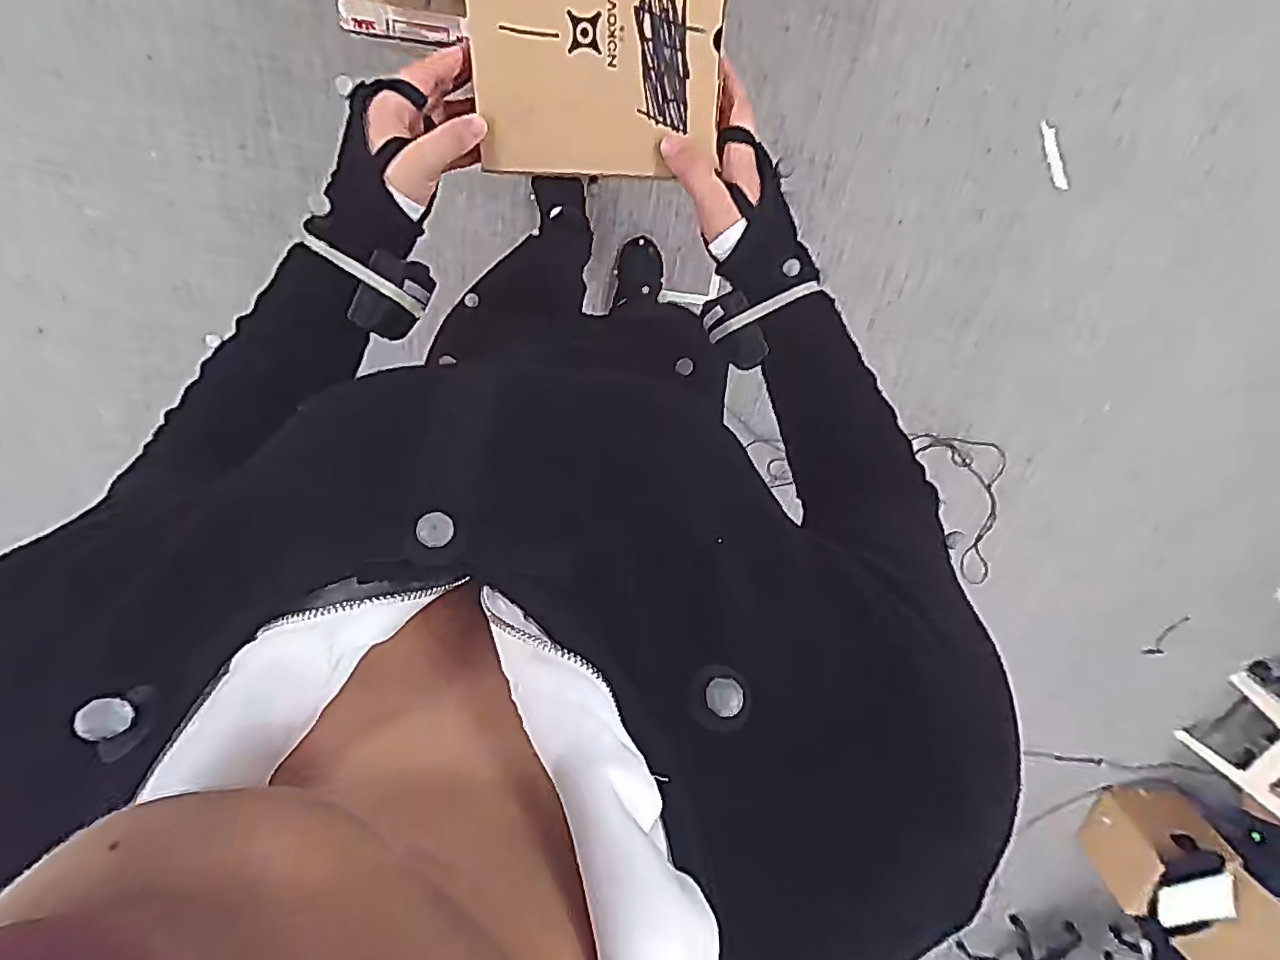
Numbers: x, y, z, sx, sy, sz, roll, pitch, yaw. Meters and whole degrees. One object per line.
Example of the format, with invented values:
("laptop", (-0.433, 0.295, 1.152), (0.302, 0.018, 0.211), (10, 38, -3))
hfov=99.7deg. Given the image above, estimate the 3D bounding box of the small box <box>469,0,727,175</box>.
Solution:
("small box", (-0.030, -0.347, 0.441), (0.179, 0.176, 0.168), (2, 118, -1))
